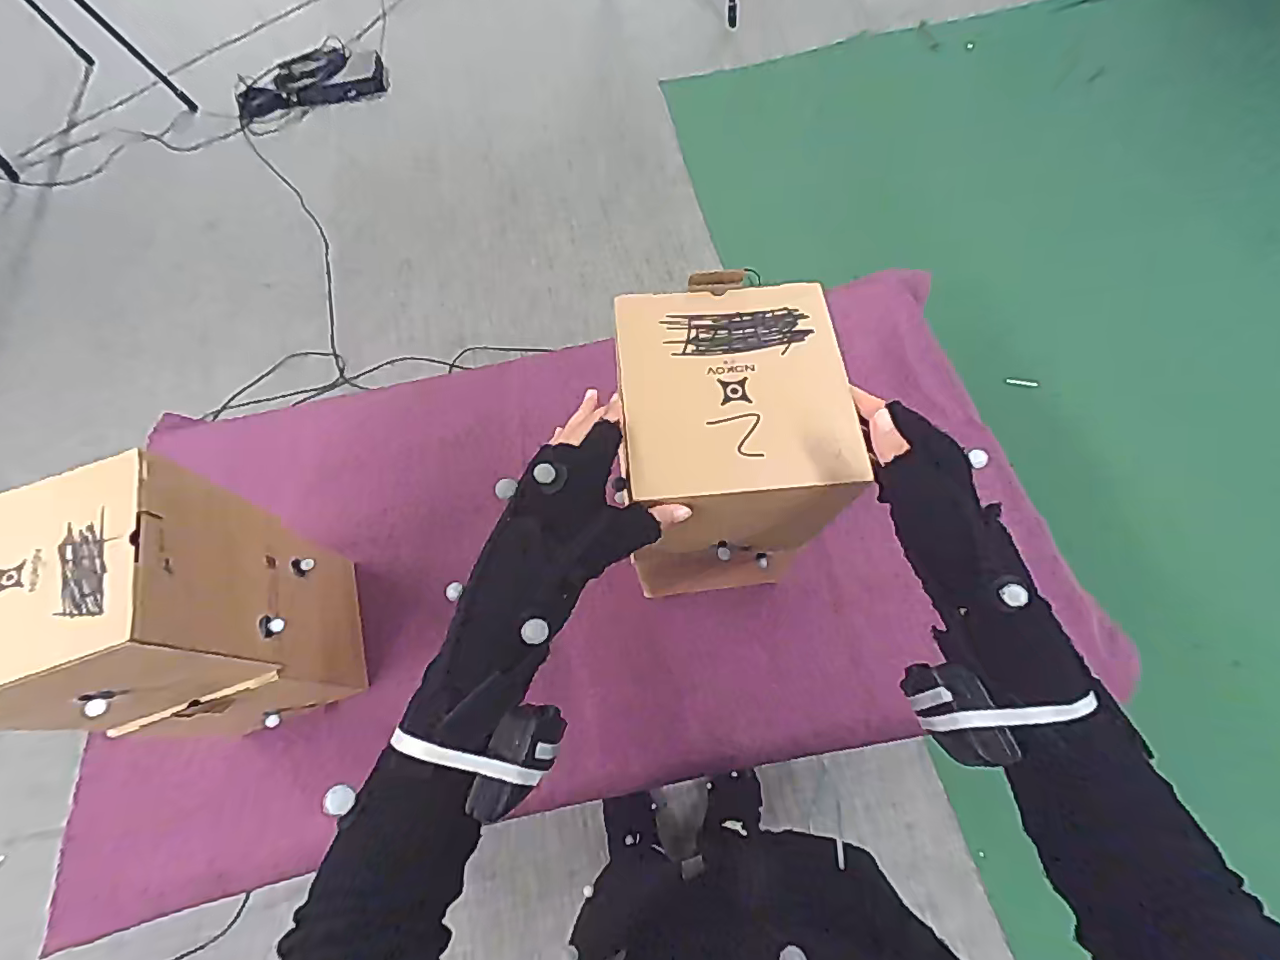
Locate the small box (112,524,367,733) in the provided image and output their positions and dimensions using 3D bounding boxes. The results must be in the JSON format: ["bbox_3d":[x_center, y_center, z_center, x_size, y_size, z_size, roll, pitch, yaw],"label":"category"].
[{"bbox_3d":[-0.445,0.179,0.628,0.168,0.176,0.179,-19,66,-3],"label":"small box"}]

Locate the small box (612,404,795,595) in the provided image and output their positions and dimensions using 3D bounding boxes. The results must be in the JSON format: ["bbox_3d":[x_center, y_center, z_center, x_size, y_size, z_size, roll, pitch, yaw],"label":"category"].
[{"bbox_3d":[0.071,0.032,0.647,0.179,0.176,0.168,-8,65,2],"label":"small box"}]

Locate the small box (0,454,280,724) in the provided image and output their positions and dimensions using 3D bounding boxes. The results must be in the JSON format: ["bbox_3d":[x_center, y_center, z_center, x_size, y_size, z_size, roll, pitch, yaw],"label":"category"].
[{"bbox_3d":[-0.454,0.105,0.478,0.179,0.176,0.168,-17,63,-3],"label":"small box"}]
